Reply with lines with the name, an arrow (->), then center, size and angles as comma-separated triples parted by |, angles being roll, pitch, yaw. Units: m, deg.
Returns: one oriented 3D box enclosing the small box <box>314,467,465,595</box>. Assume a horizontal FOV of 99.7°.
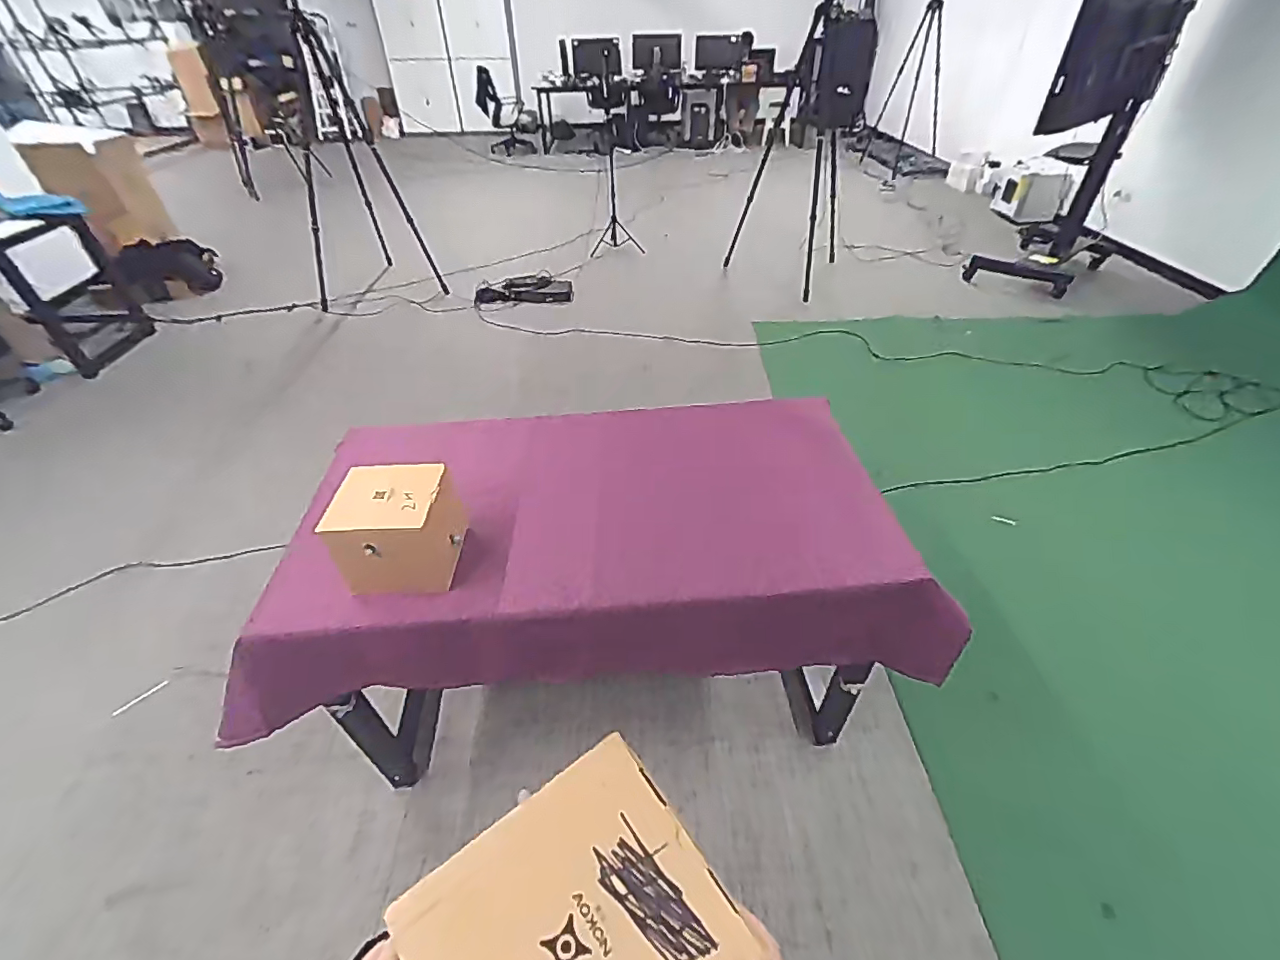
small box -> -0.436, 0.093, 0.976 | 0.179, 0.176, 0.168 | -2, 41, -1
